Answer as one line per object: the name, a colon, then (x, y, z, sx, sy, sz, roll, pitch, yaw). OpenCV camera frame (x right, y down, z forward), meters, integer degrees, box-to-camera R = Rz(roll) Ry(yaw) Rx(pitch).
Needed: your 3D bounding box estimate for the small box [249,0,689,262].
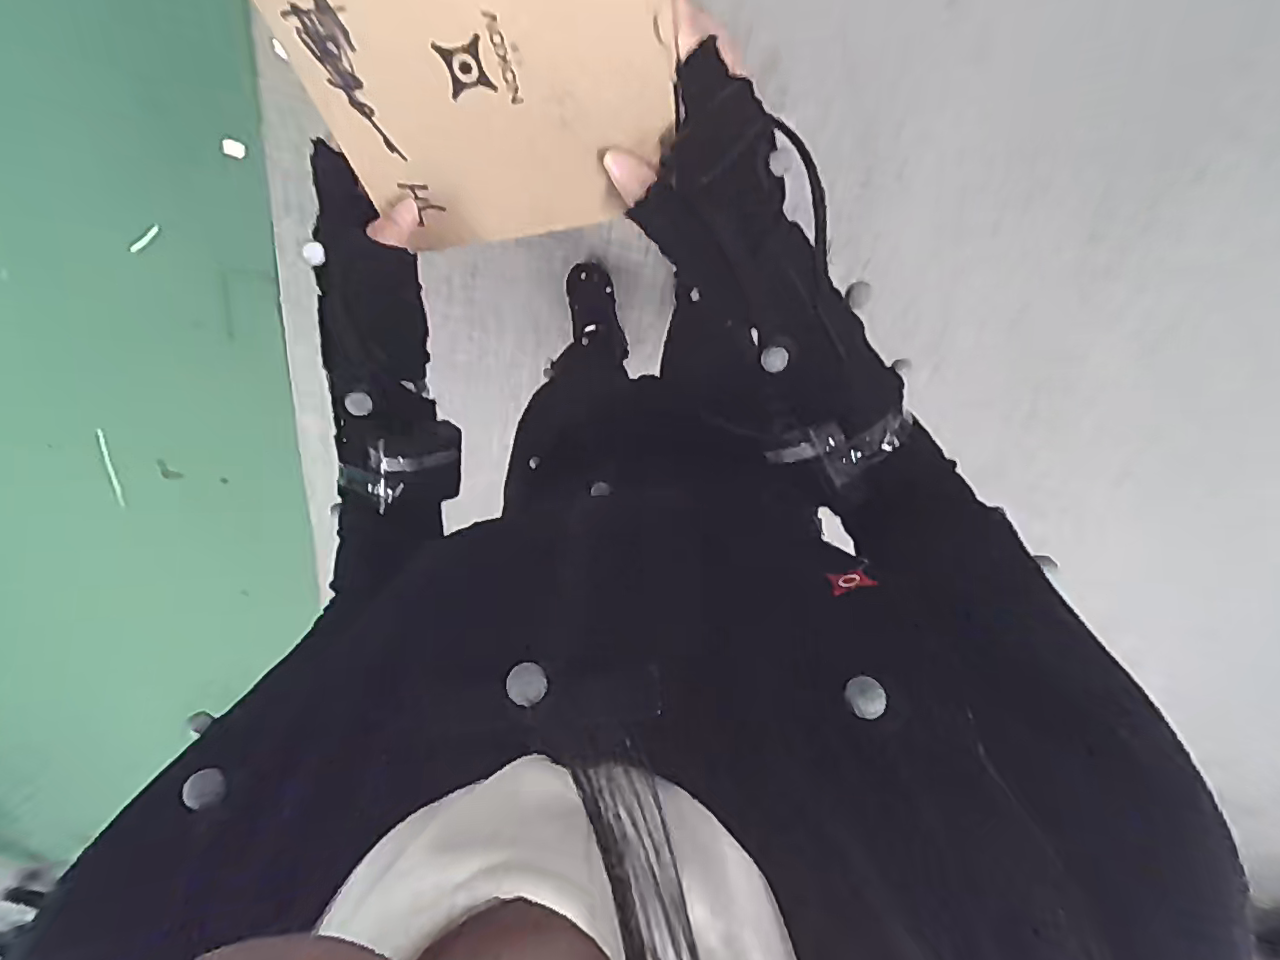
small box: (-0.075, -0.256, 0.300, 0.179, 0.176, 0.168, -8, 144, 9)
